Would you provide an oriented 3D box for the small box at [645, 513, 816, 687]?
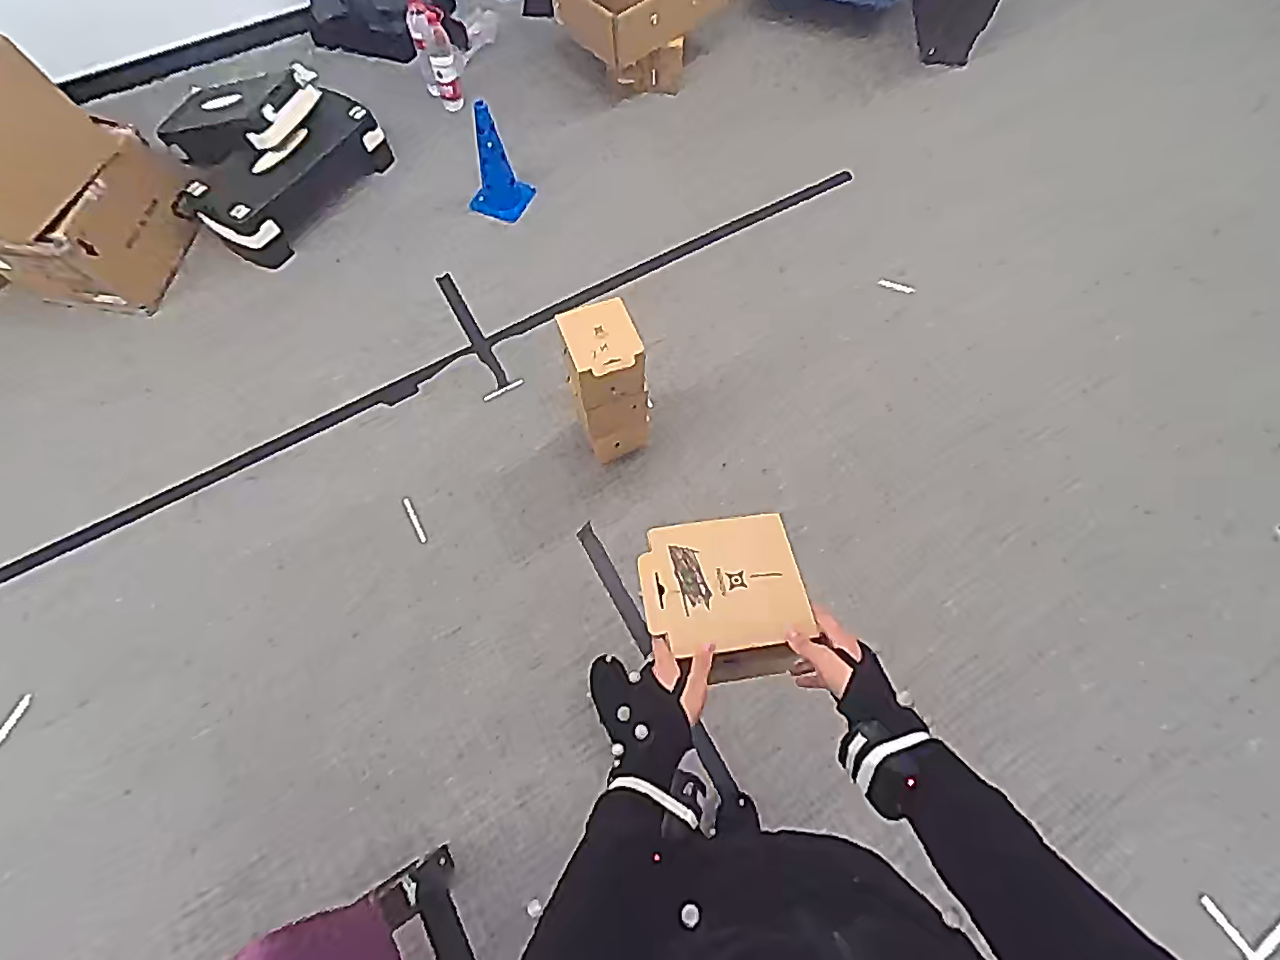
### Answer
[{"bbox_3d":[0.102,0.162,0.712,0.179,0.176,0.168,-6,58,-7],"label":"small box"}]

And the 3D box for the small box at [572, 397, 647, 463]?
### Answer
[{"bbox_3d":[-0.089,-0.169,1.632,0.168,0.176,0.179,-25,70,-11],"label":"small box"}]

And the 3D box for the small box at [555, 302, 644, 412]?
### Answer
[{"bbox_3d":[-0.099,-0.298,1.328,0.168,0.176,0.179,-19,70,-9],"label":"small box"}]
